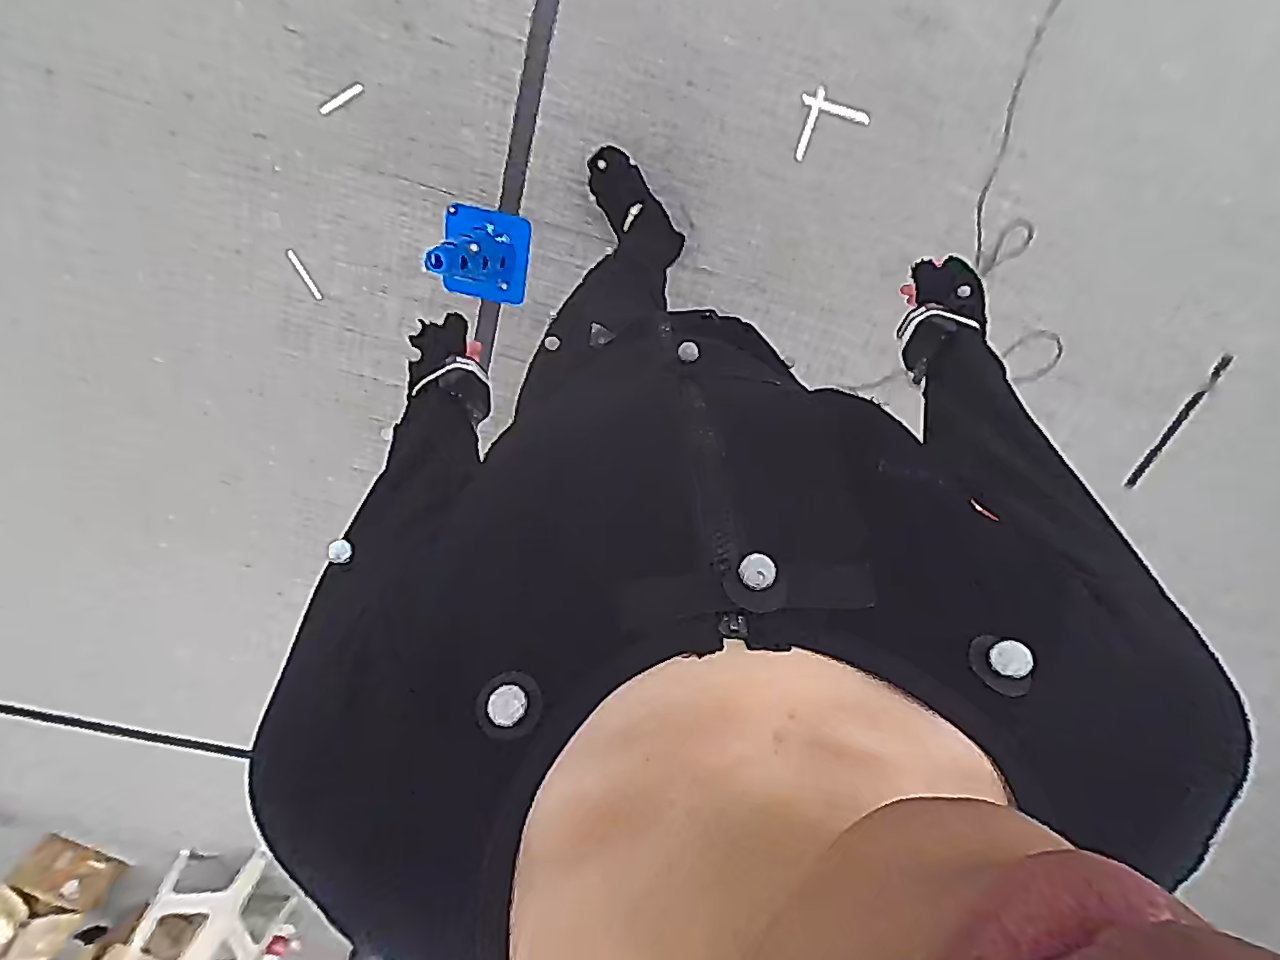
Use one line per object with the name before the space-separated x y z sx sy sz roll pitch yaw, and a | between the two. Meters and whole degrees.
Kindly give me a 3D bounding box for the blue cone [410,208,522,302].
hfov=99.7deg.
blue cone | -0.384 -0.468 1.140 0.192 0.380 0.193 12 113 -5
